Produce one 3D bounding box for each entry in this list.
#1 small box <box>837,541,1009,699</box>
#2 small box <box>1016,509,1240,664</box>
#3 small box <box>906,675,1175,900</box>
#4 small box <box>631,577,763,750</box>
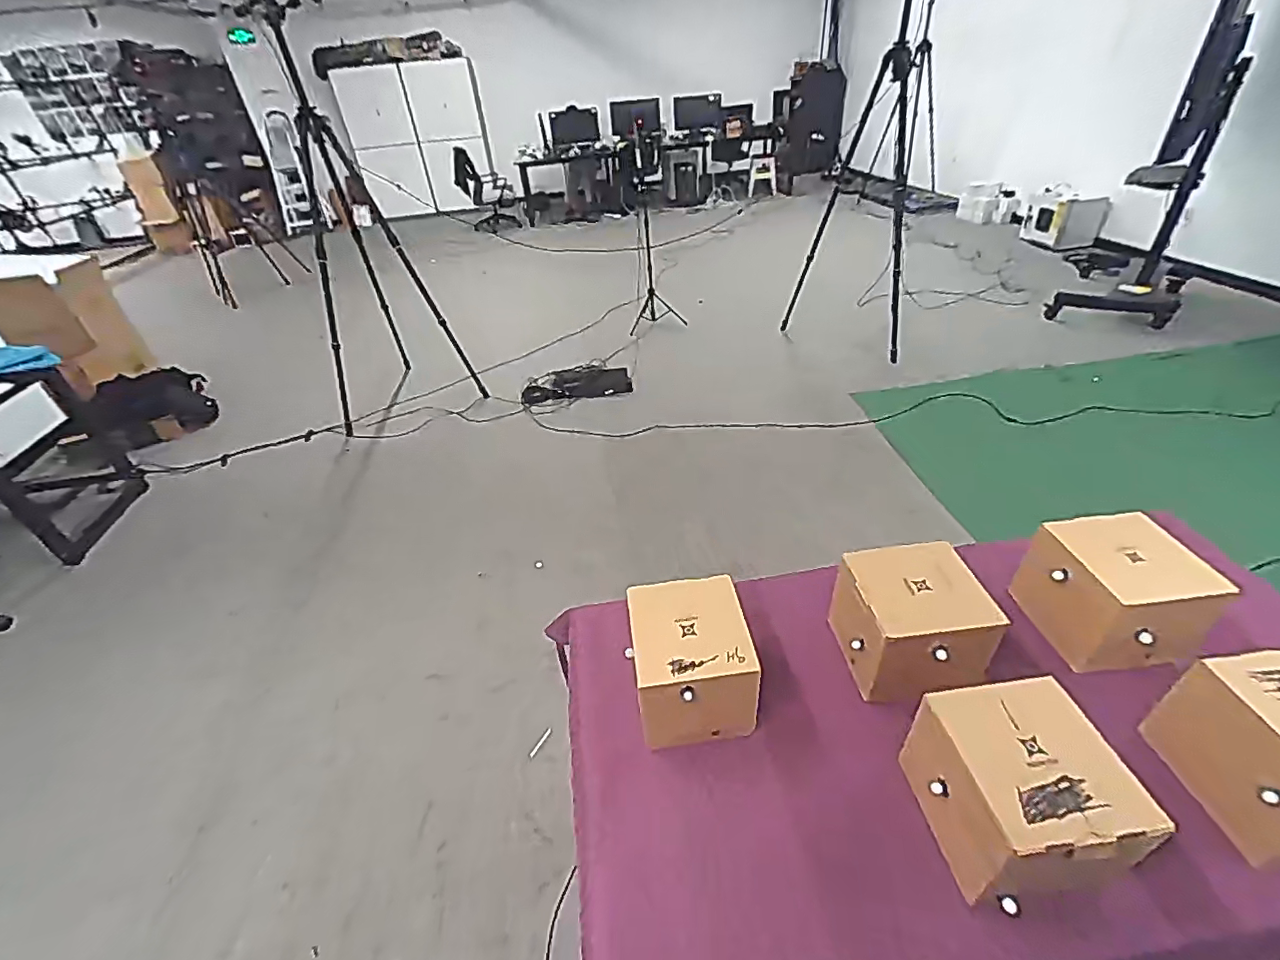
[{"bbox_3d":[0.419,0.220,0.842,0.179,0.176,0.168,-7,37,0],"label":"small box"},{"bbox_3d":[0.743,0.172,0.852,0.168,0.176,0.179,-7,36,0],"label":"small box"},{"bbox_3d":[0.445,0.365,0.641,0.168,0.176,0.179,-8,36,-1],"label":"small box"},{"bbox_3d":[0.079,0.276,0.821,0.168,0.176,0.179,-8,36,-2],"label":"small box"}]
